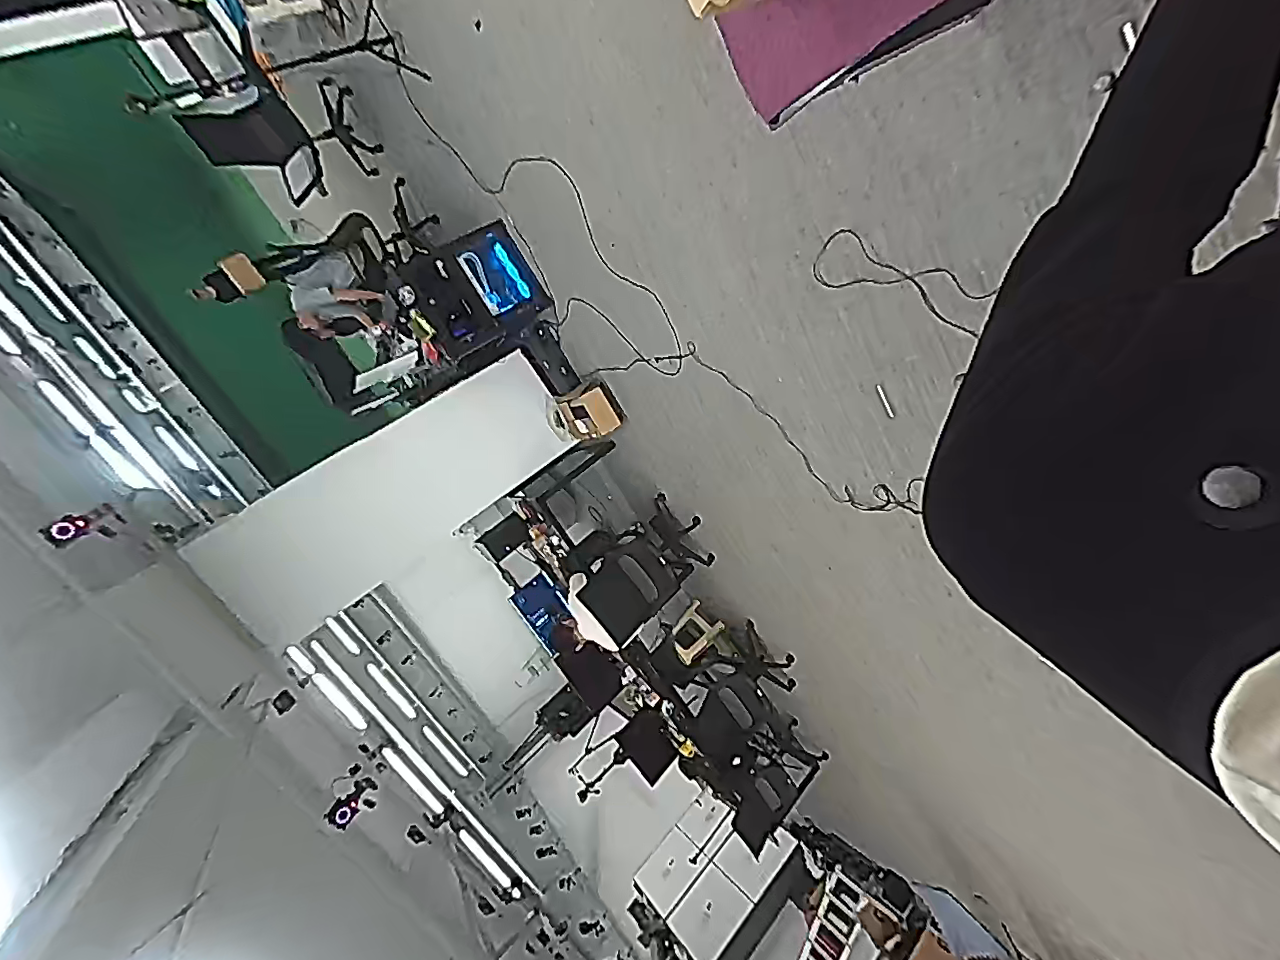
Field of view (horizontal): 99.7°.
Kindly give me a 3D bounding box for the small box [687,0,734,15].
[{"bbox_3d":[0.129,-0.765,0.694,0.179,0.176,0.168,58,155,-13],"label":"small box"}]
